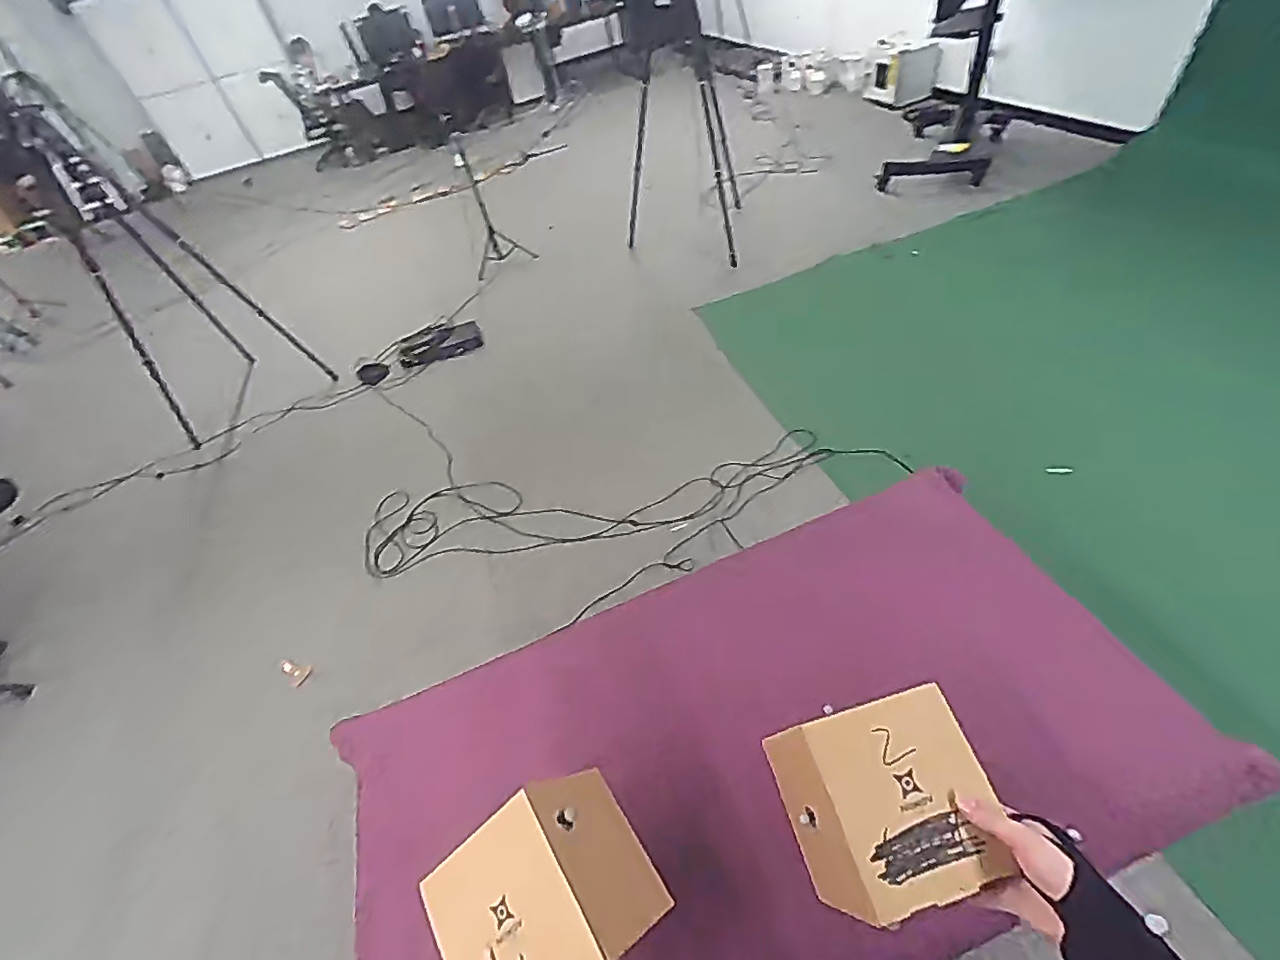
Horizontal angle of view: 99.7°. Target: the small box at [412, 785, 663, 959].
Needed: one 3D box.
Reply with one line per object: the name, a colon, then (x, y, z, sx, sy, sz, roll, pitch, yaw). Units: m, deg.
small box: (-0.106, 0.464, 0.593, 0.168, 0.176, 0.179, -43, 59, 5)
